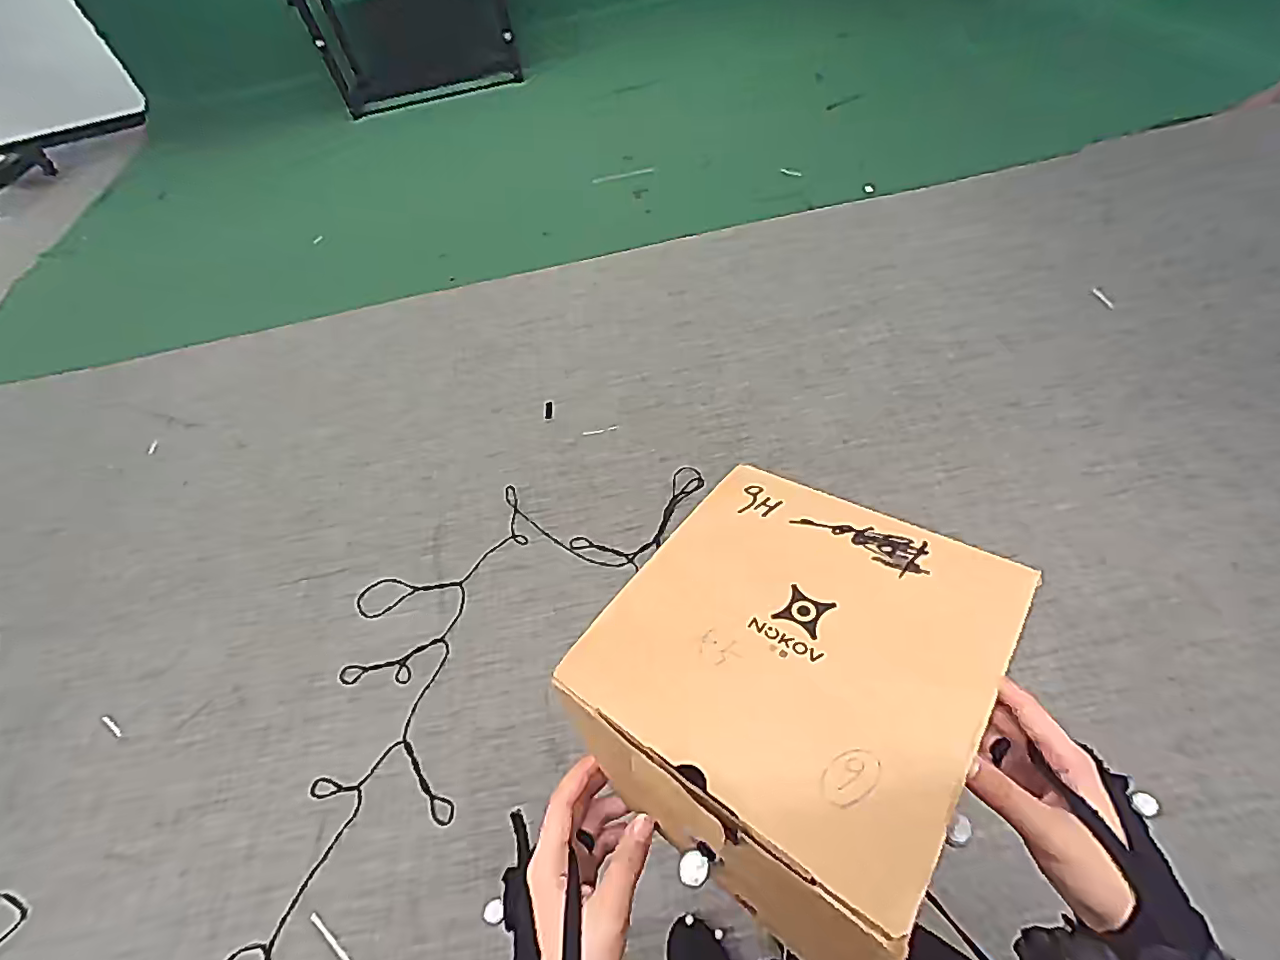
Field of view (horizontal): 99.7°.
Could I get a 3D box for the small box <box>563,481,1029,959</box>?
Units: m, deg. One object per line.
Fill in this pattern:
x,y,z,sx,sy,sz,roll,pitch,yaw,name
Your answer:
0.089,0.137,0.317,0.168,0.176,0.179,24,53,33,small box
